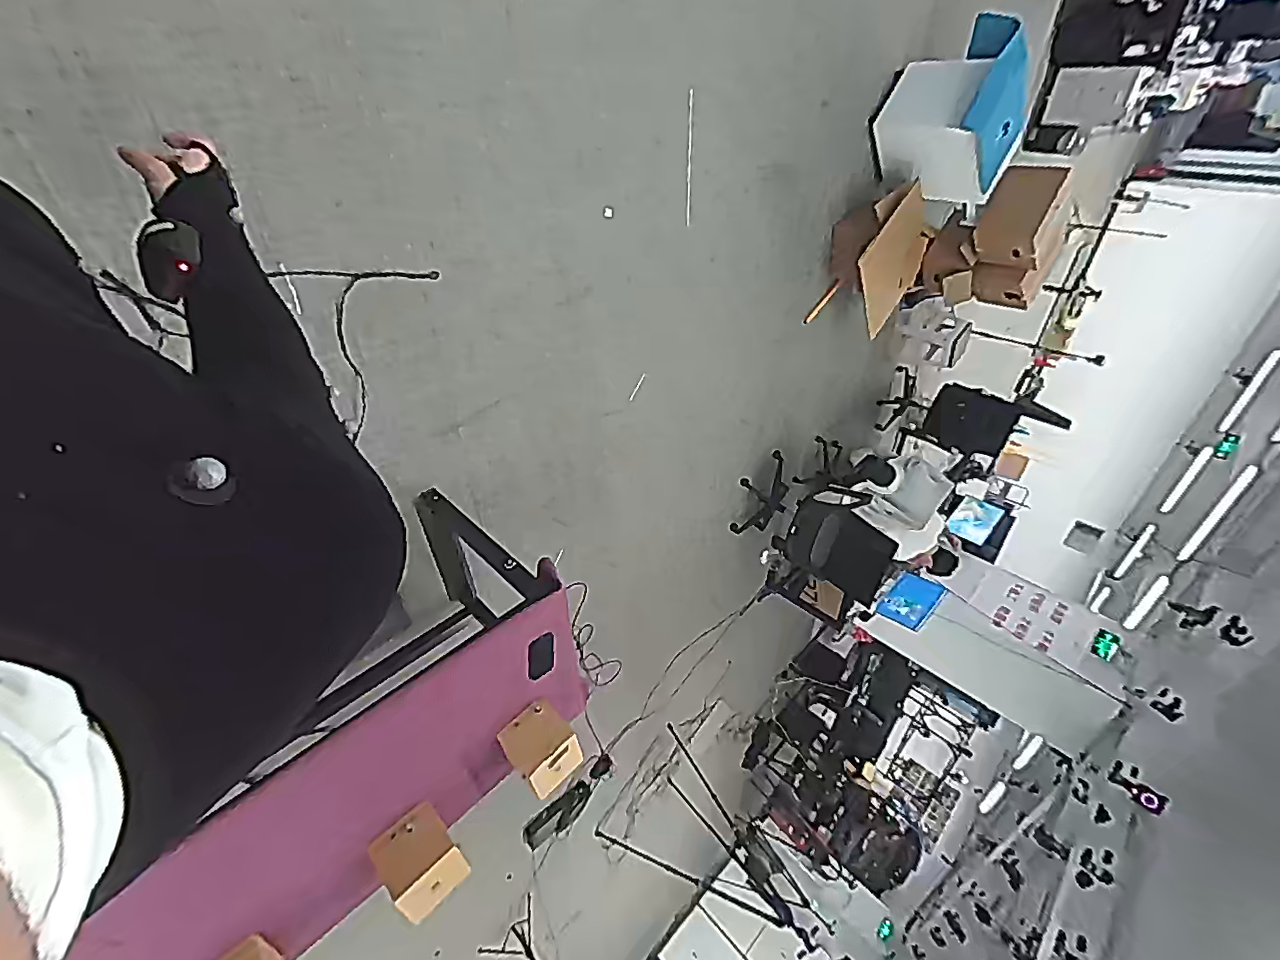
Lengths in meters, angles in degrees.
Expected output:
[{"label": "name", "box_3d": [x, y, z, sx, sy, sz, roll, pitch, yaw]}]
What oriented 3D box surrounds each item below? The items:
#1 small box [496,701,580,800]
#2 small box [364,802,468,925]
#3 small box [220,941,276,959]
[{"label": "small box", "box_3d": [-0.300, 0.786, 1.589, 0.168, 0.176, 0.179, -35, 138, -31]}, {"label": "small box", "box_3d": [-0.574, 0.979, 1.392, 0.168, 0.176, 0.179, -33, 136, -34]}, {"label": "small box", "box_3d": [-0.864, 1.142, 1.150, 0.168, 0.176, 0.179, -30, 136, -36]}]
